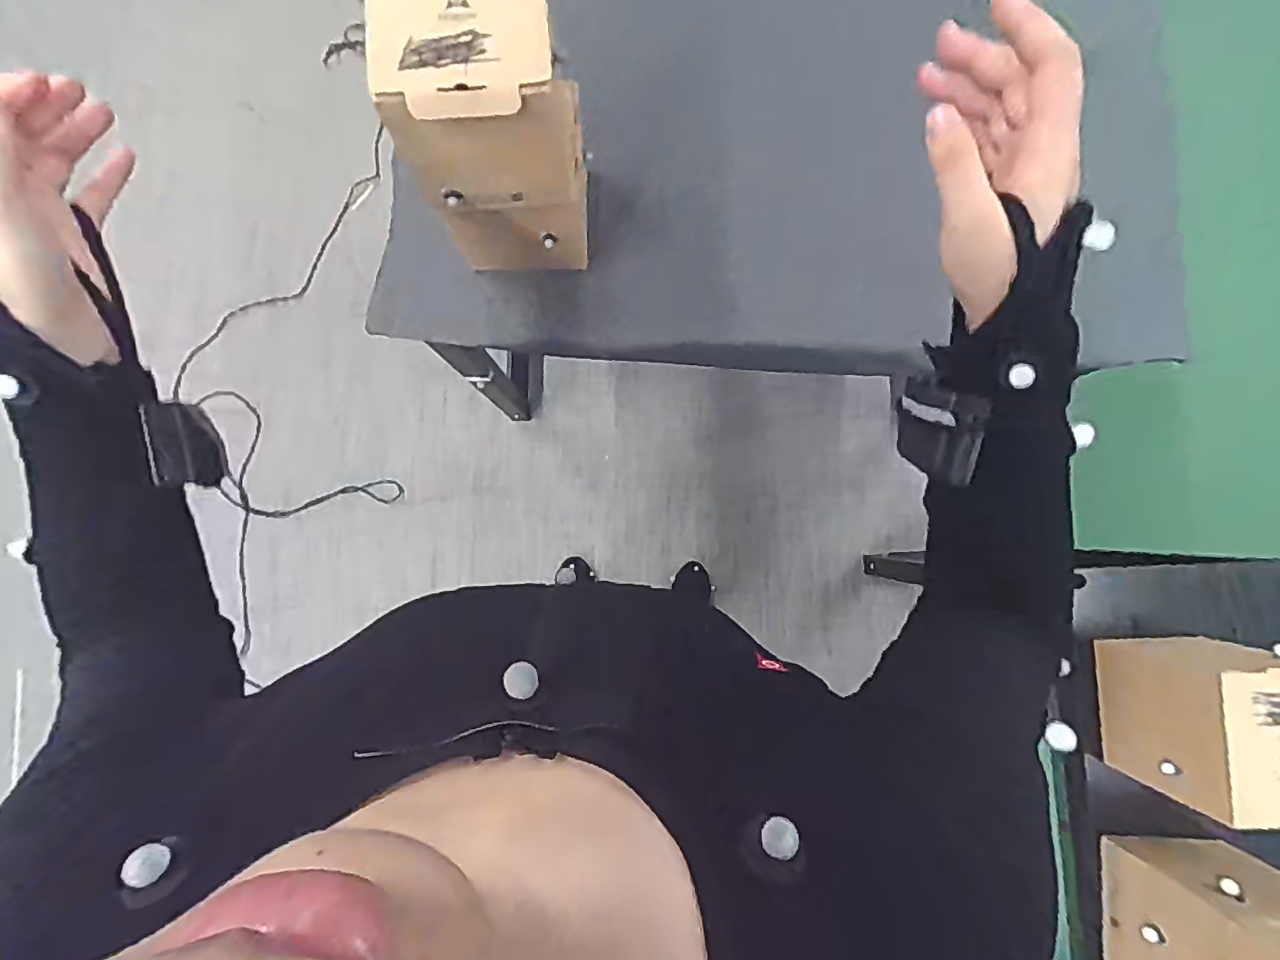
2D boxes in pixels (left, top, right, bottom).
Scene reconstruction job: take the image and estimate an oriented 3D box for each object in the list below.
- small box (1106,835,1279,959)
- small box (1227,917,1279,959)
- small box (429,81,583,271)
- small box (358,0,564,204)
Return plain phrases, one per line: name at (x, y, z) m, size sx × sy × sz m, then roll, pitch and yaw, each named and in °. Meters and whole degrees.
small box at (0.725, 0.570, 0.666) m, size 0.179 × 0.176 × 0.168 m, roll 3°, pitch 86°, yaw -1°
small box at (0.706, 0.569, 0.503) m, size 0.168 × 0.176 × 0.179 m, roll 11°, pitch 85°, yaw 0°
small box at (-0.170, -0.402, 0.738) m, size 0.179 × 0.176 × 0.168 m, roll -2°, pitch 83°, yaw 0°
small box at (-0.176, -0.418, 0.574) m, size 0.168 × 0.176 × 0.179 m, roll -5°, pitch 82°, yaw -2°
